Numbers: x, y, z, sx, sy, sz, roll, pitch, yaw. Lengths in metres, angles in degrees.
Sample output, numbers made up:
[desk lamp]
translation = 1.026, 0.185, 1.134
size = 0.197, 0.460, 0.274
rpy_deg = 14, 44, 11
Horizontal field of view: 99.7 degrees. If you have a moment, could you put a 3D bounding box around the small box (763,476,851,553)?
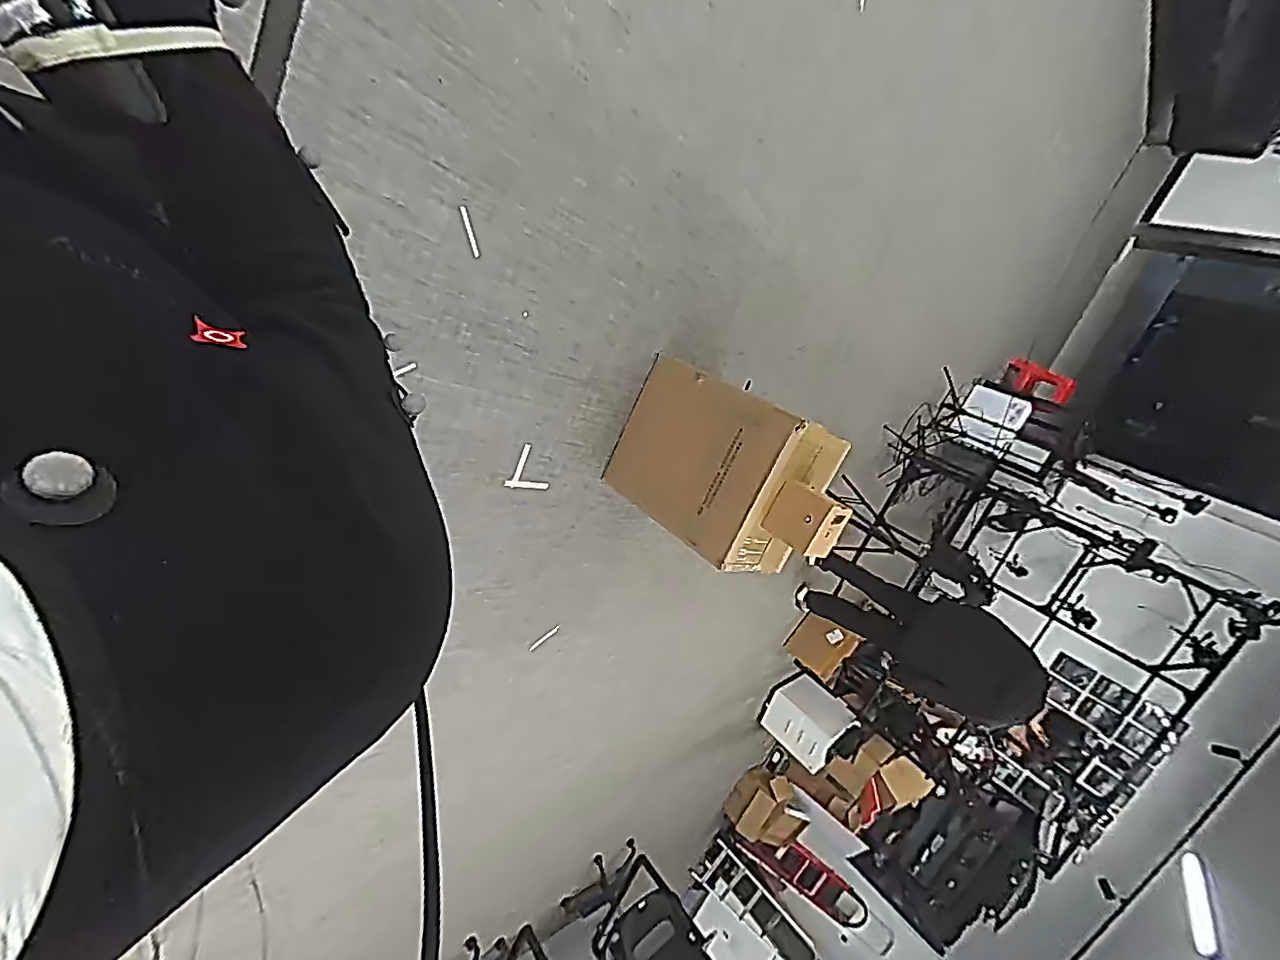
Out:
[small box]
translation = 0.511, 0.106, 1.671
size = 0.168, 0.176, 0.179
rpy_deg = 13, 108, -48
